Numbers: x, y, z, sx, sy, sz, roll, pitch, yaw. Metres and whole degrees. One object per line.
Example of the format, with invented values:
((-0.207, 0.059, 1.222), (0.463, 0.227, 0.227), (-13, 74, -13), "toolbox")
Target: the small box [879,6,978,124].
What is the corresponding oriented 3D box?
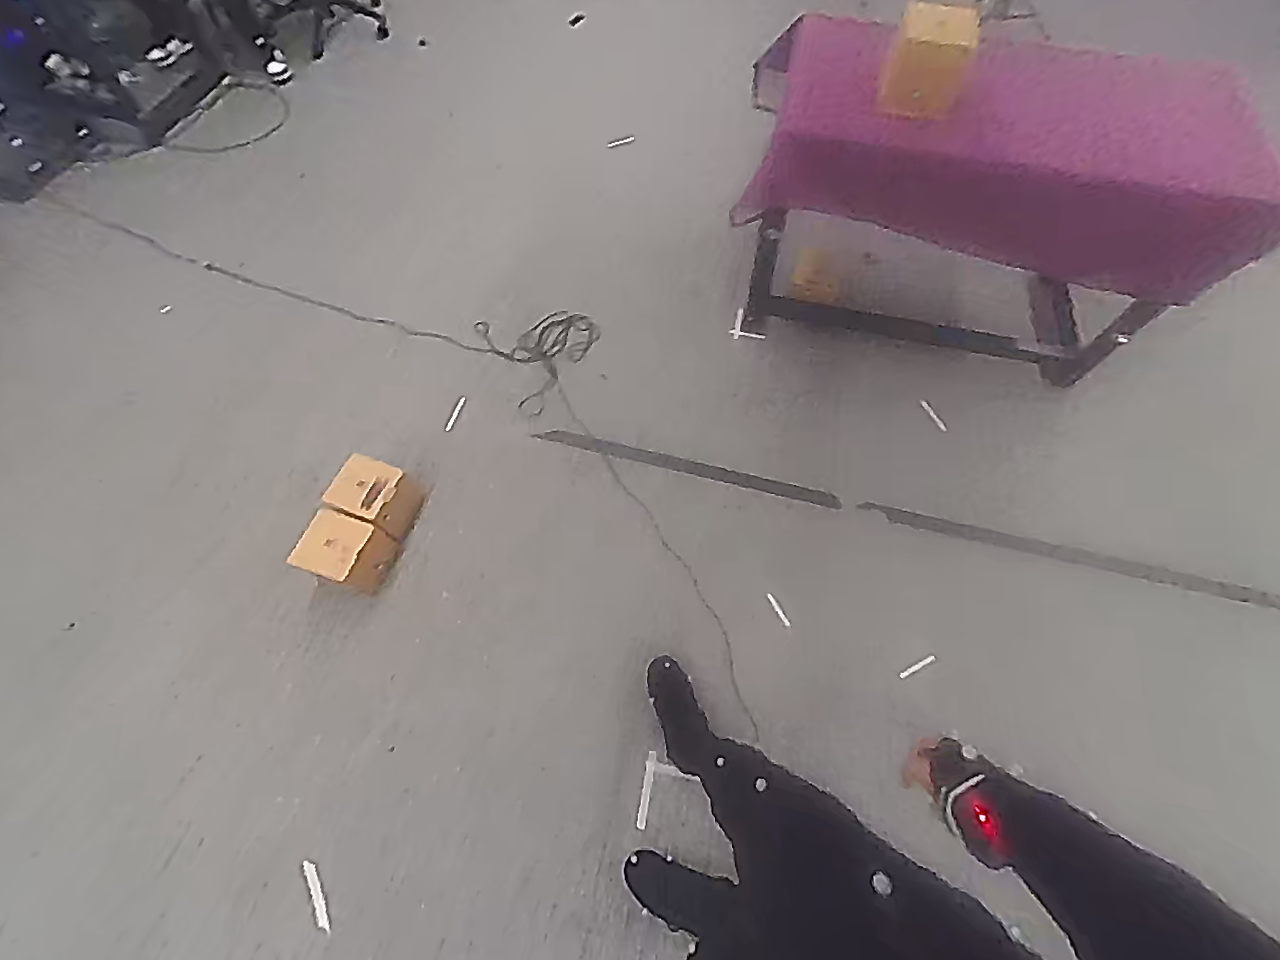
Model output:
((0.718, -1.041, 1.361), (0.168, 0.176, 0.179), (12, 64, 5), "small box")
